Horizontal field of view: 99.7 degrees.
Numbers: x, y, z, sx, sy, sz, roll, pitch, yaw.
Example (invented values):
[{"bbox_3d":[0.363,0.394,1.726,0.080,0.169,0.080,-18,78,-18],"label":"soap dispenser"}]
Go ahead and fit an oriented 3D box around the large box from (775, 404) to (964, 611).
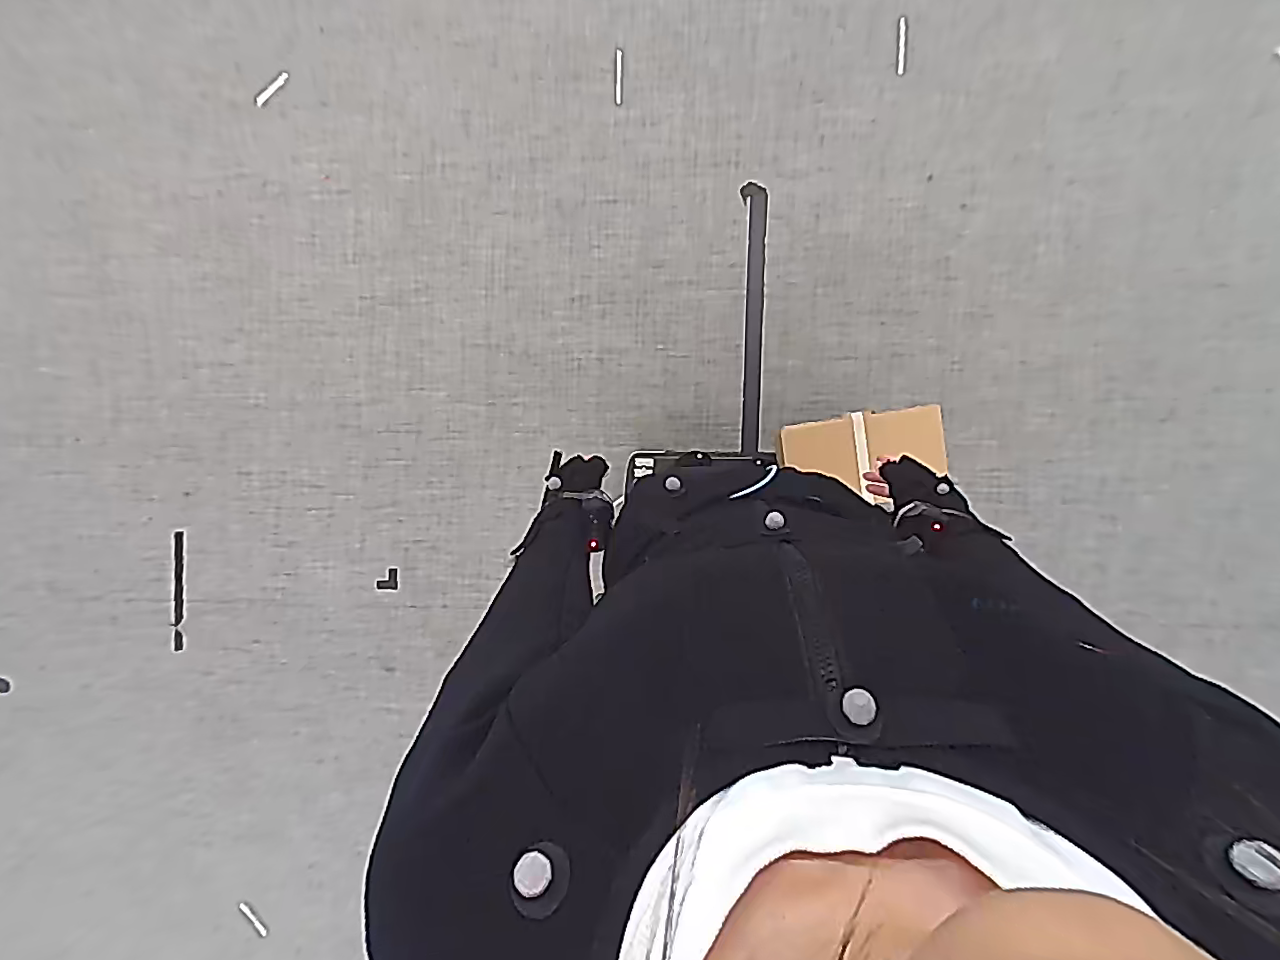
[{"bbox_3d":[0.507,0.052,1.261,0.320,0.320,0.408,-8,93,12],"label":"large box"}]
